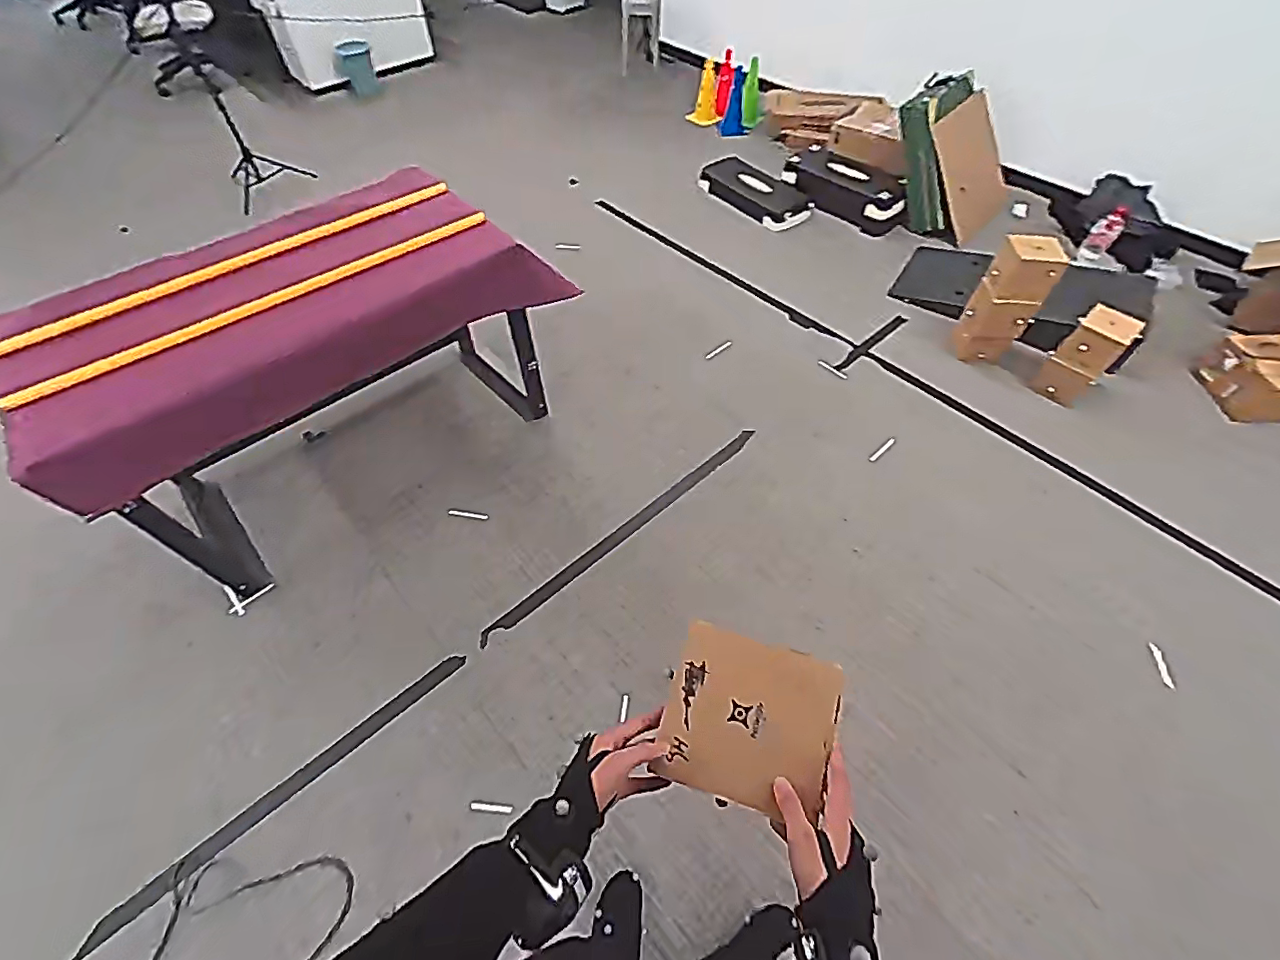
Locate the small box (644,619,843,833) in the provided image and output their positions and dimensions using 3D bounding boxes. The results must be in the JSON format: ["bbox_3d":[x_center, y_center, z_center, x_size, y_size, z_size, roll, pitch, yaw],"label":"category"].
[{"bbox_3d":[0.118,0.279,0.637,0.179,0.176,0.168,14,68,13],"label":"small box"}]
